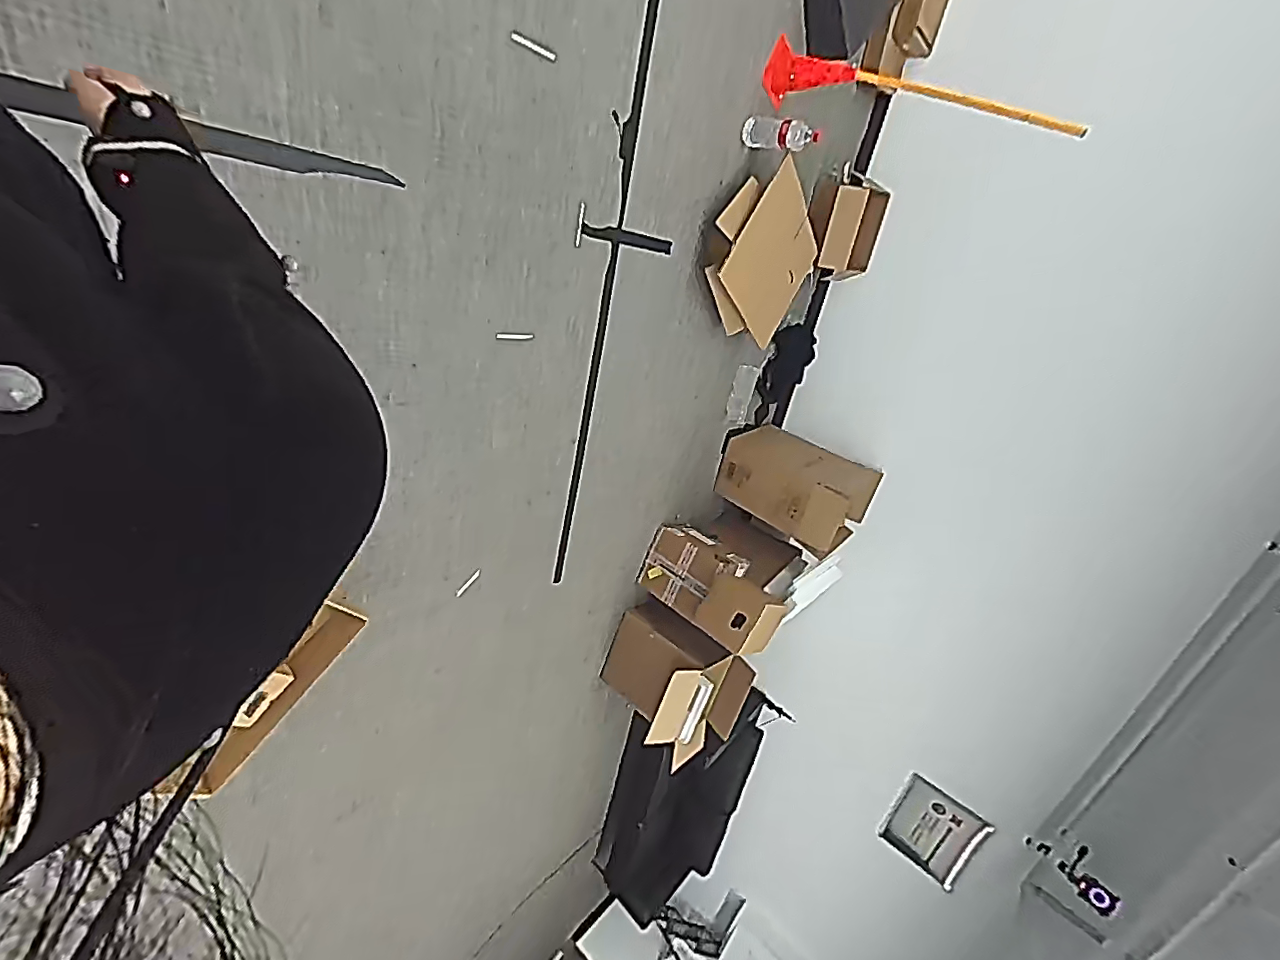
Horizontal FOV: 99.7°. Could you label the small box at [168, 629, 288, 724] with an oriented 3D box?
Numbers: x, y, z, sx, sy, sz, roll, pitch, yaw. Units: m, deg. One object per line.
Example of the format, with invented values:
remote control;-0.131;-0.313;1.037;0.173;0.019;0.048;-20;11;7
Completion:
small box;-1.117;0.530;1.467;0.168;0.176;0.179;-52;147;-15
